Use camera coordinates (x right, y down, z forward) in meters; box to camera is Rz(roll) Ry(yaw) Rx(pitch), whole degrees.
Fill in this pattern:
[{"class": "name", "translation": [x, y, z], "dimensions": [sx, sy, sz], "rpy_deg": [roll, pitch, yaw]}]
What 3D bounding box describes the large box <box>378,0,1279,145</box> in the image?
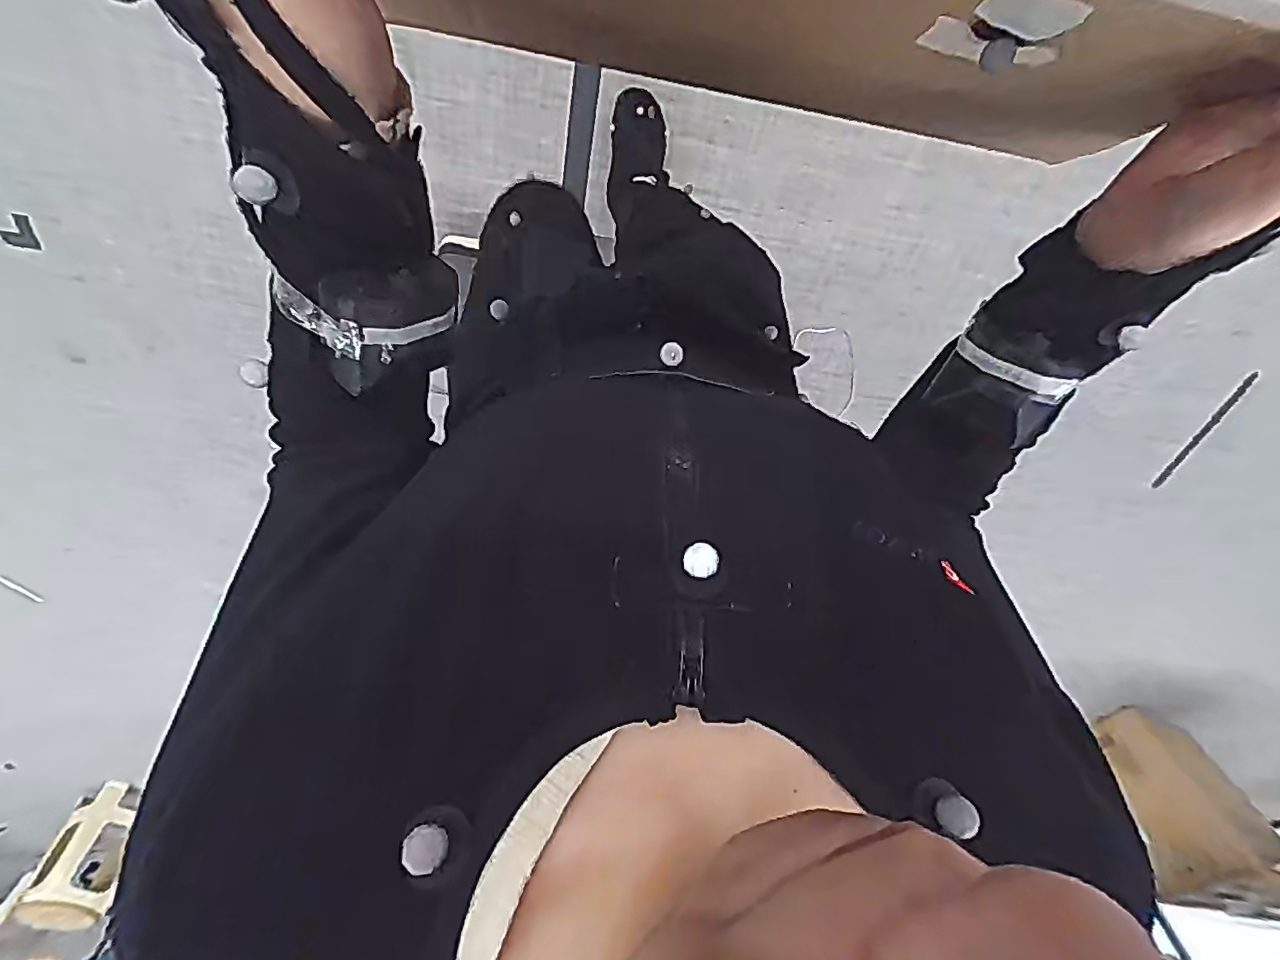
[{"class": "large box", "translation": [0.100, -0.333, 0.131], "dimensions": [0.408, 0.320, 0.320], "rpy_deg": [3, 105, -10]}]
